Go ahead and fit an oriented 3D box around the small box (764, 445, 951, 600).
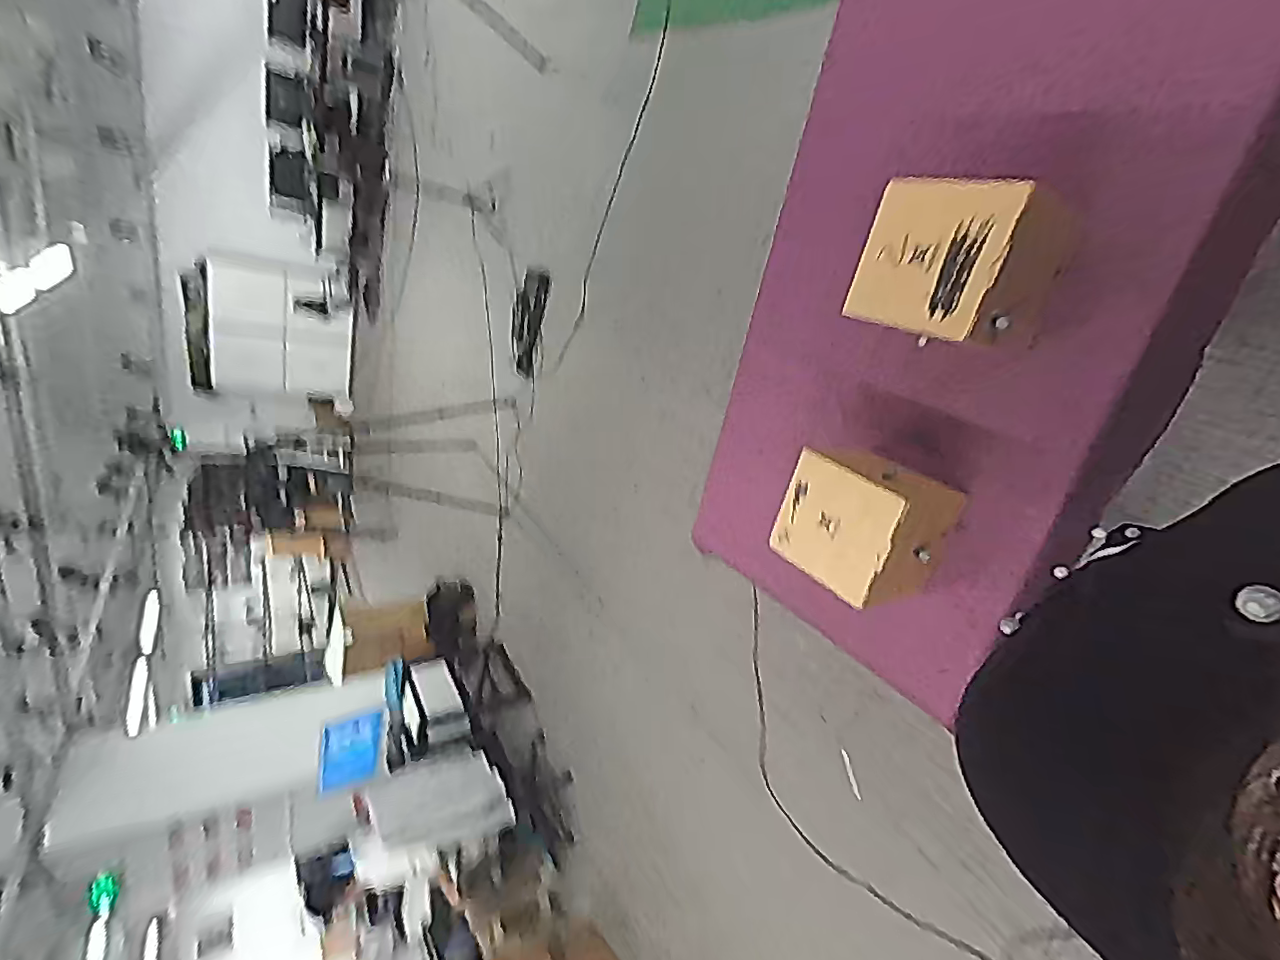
[{"bbox_3d":[0.328,0.052,0.816,0.179,0.176,0.168,37,120,45],"label":"small box"}]
